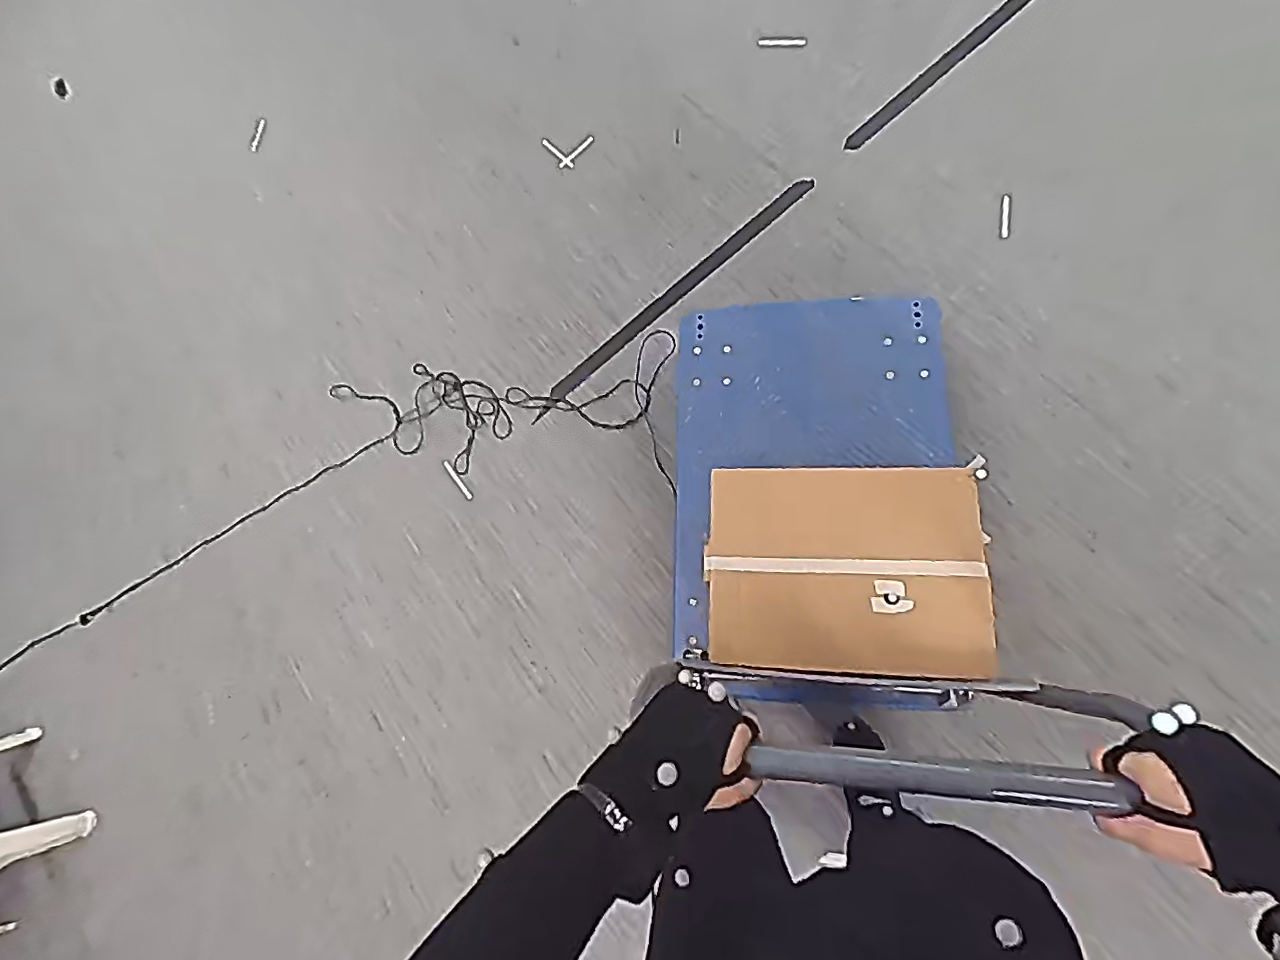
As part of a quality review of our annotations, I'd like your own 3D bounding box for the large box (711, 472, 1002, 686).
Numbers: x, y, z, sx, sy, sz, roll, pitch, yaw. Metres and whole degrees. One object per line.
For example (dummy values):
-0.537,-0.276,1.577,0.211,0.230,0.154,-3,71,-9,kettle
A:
0.333,0.175,0.953,0.408,0.320,0.320,0,76,10,large box
